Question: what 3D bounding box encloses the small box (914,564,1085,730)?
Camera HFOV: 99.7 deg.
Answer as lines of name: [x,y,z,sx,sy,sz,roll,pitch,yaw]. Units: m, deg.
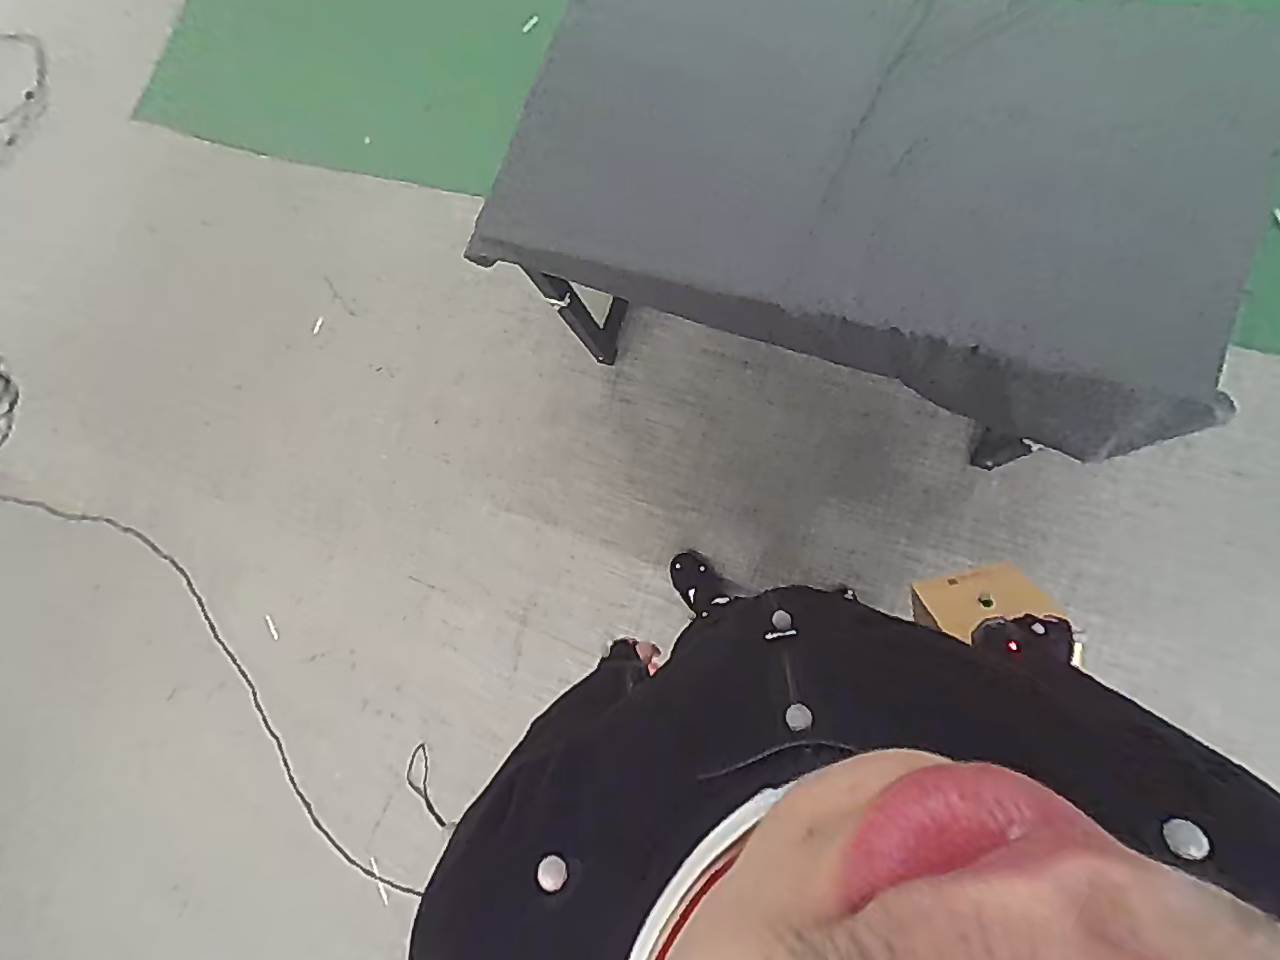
small box: [0.559,0.253,0.859,0.168,0.176,0.179,-18,116,8]
